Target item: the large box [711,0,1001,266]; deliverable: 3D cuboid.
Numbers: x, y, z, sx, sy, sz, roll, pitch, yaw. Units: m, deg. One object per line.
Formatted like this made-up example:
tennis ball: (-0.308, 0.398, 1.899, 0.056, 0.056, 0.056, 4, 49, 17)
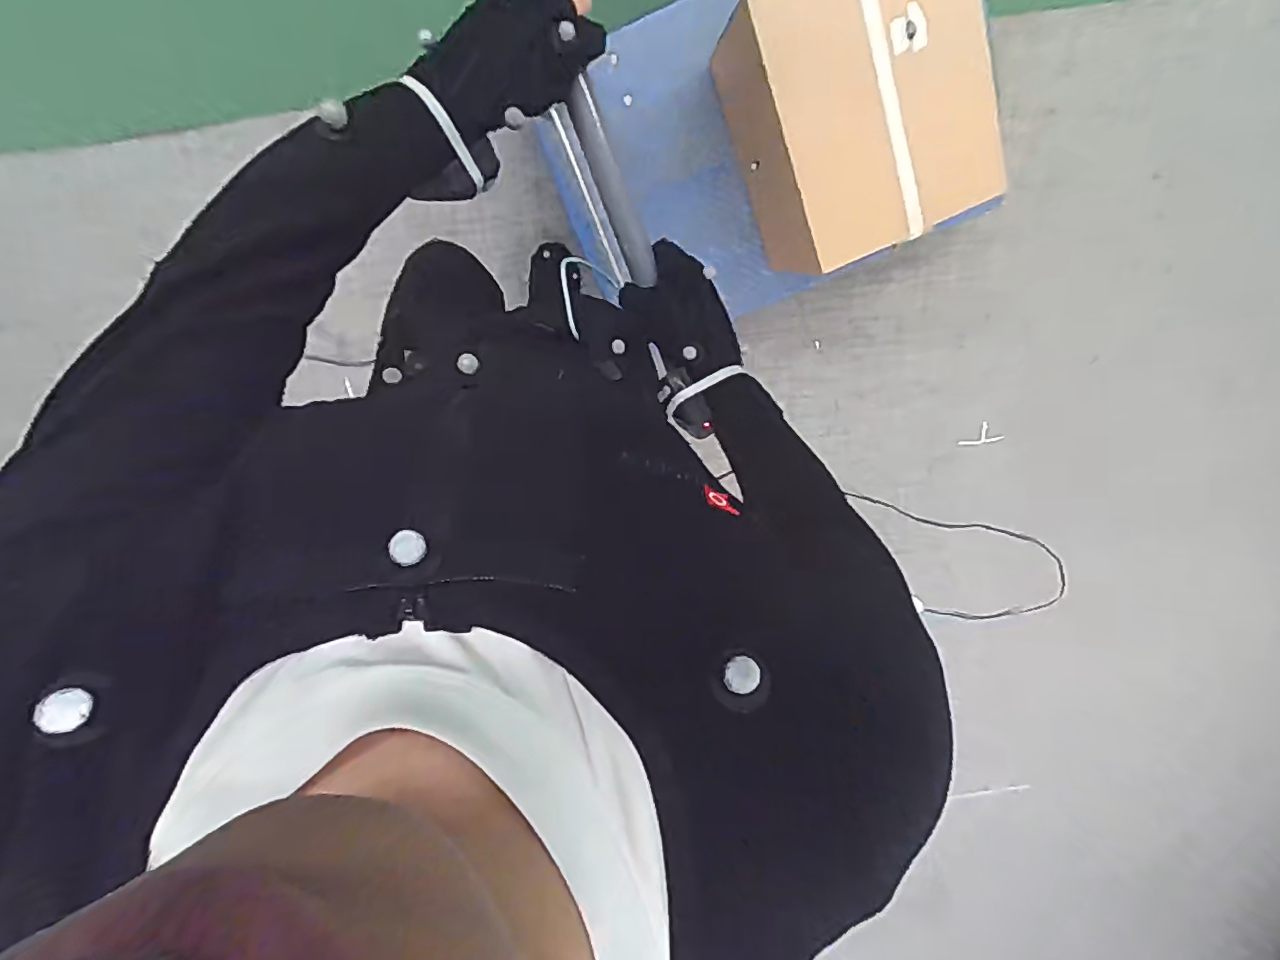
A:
large box: (0.354, -0.636, 0.948, 0.320, 0.320, 0.408, -23, 112, 6)
